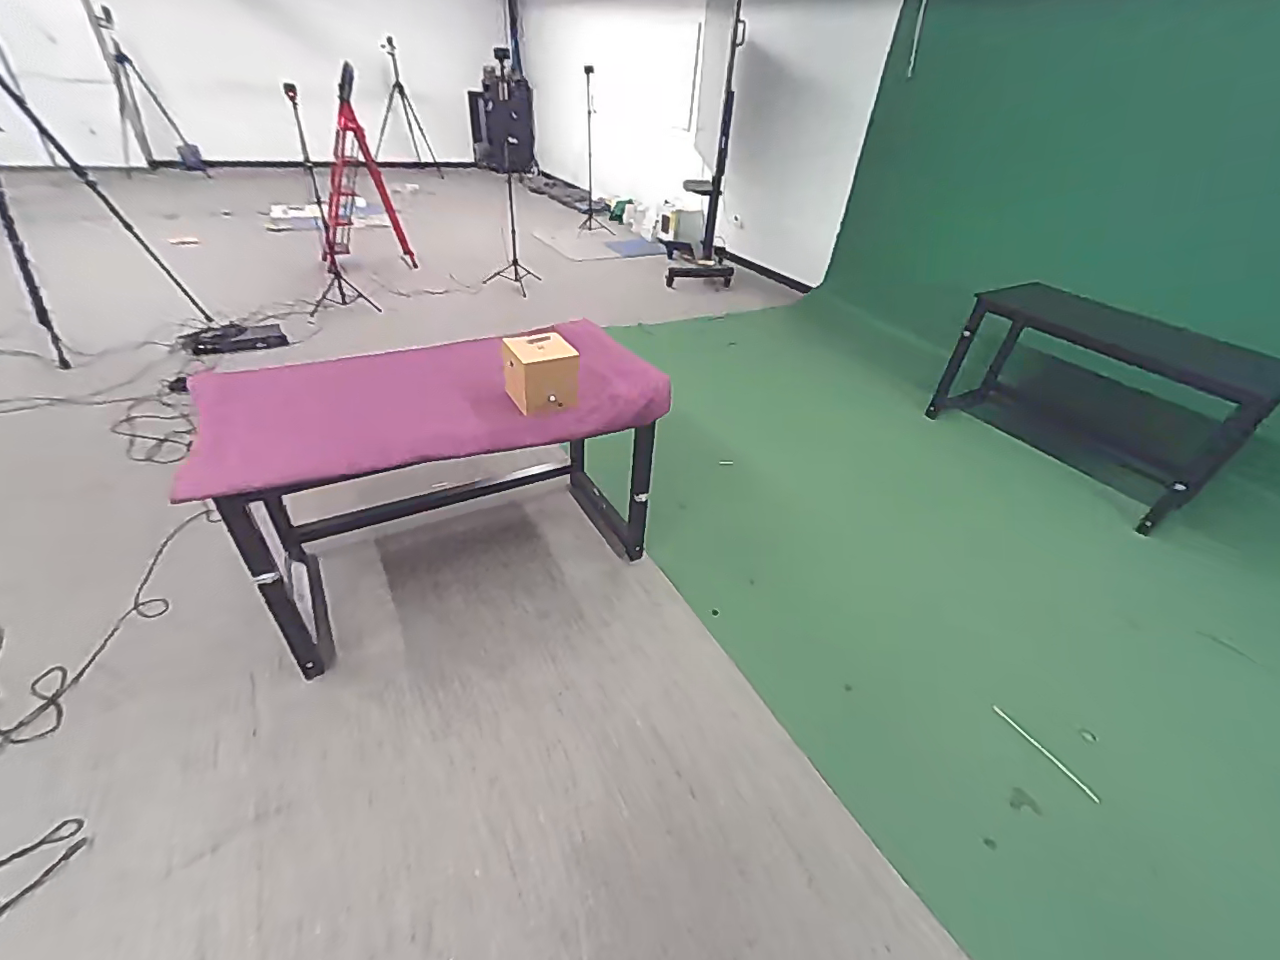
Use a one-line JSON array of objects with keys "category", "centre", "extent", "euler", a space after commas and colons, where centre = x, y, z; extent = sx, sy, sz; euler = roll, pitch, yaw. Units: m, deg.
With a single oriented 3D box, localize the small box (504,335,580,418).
[{"category": "small box", "centre": [-0.285, -0.301, 1.562], "extent": [0.168, 0.176, 0.179], "euler": [-16, 42, -26]}]
